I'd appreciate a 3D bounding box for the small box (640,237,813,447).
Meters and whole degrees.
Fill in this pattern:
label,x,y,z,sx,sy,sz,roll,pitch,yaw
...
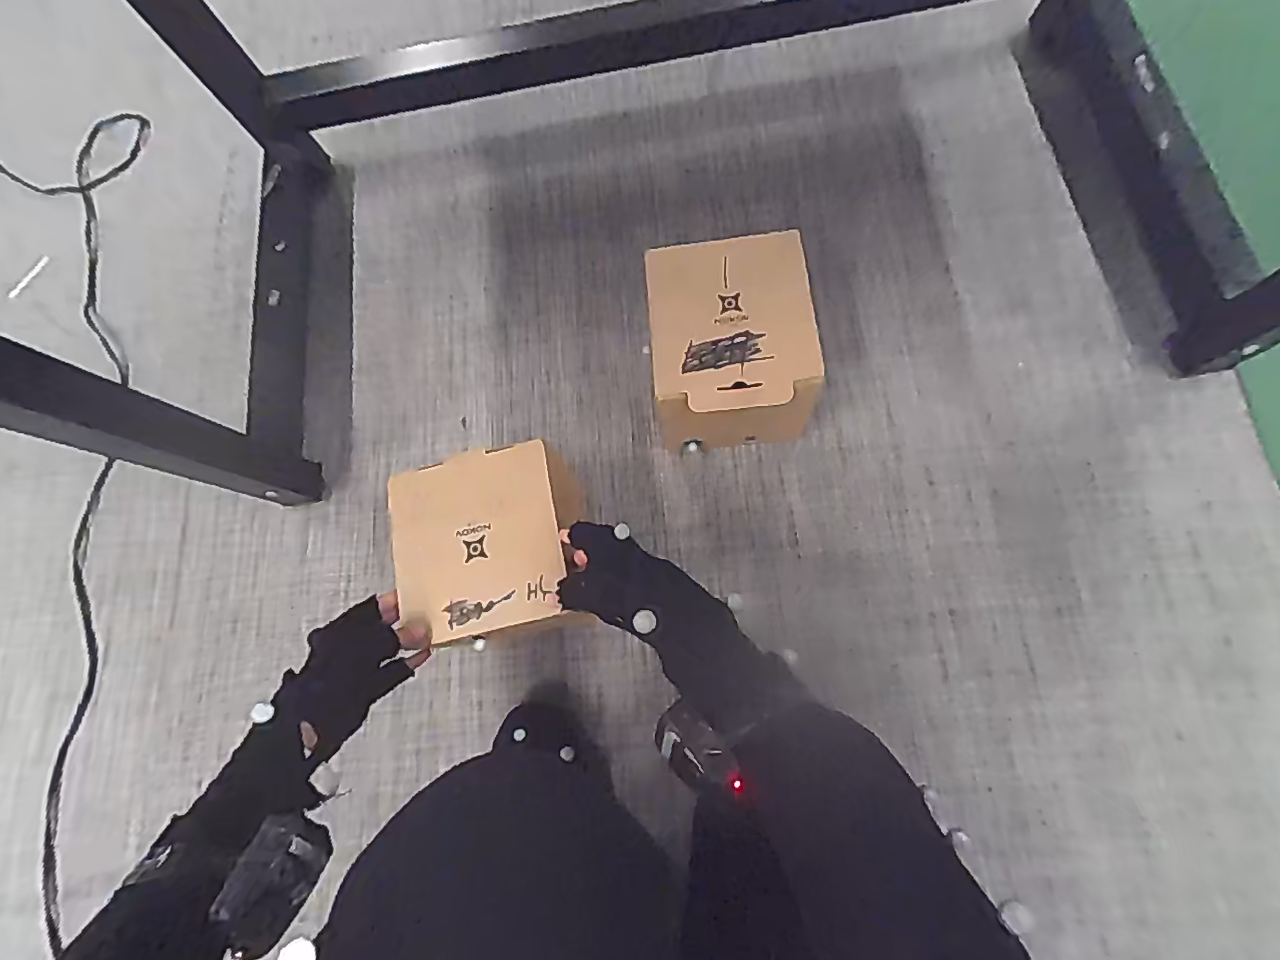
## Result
label,x,y,z,sx,sy,sz,roll,pitch,yaw
small box,0.095,-0.144,0.629,0.168,0.176,0.179,-5,74,6
